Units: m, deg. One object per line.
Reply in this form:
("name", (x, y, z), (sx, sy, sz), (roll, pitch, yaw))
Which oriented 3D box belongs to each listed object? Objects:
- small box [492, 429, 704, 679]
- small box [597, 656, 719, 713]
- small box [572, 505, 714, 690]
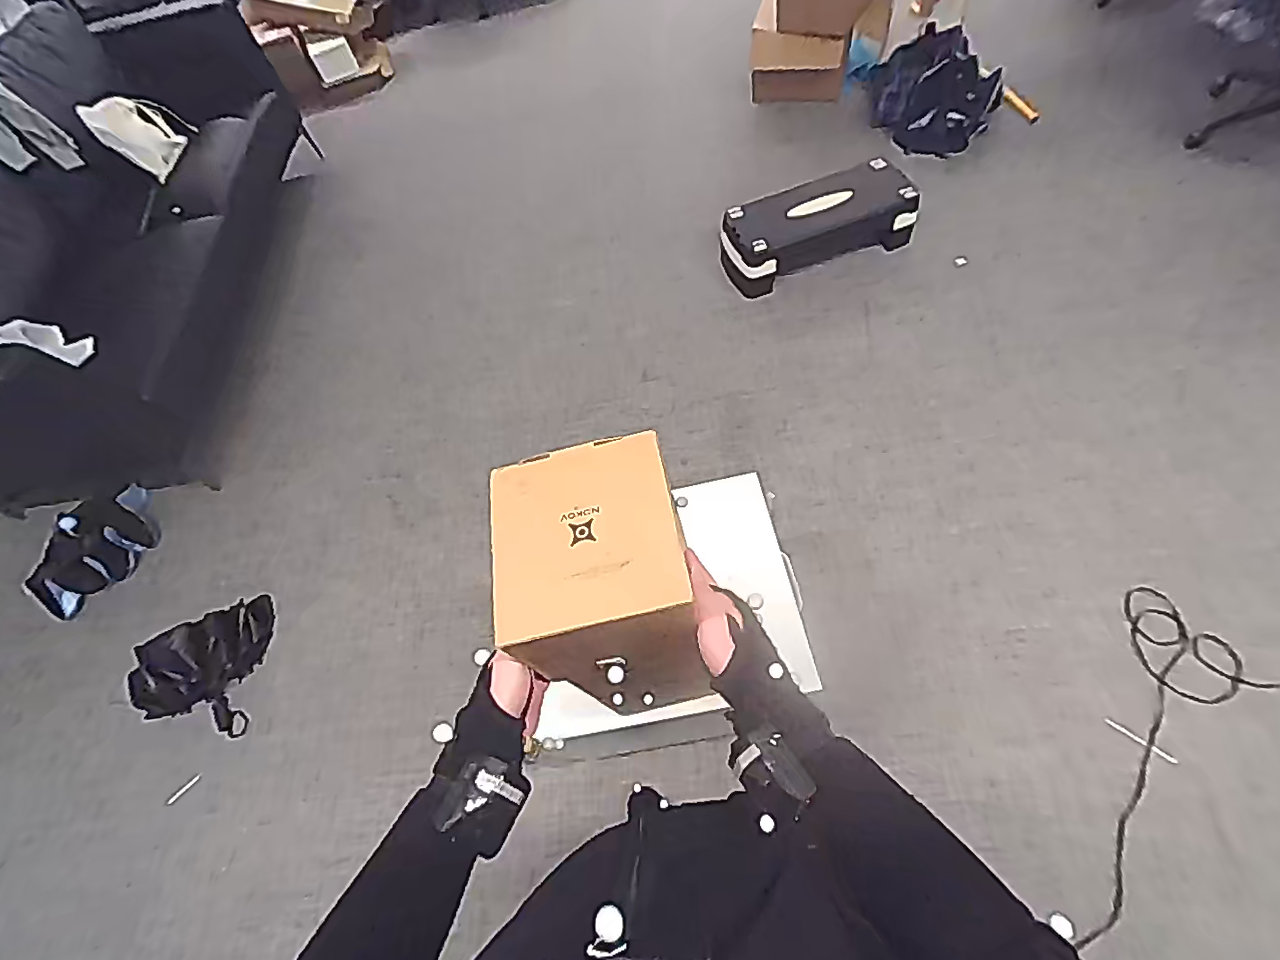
("small box", (-0.037, 0.080, 0.541), (0.168, 0.176, 0.179), (-14, 58, 3))
("small box", (0.018, 0.237, 0.826), (0.168, 0.176, 0.179), (-16, 58, 2))
("small box", (-0.007, 0.156, 0.685), (0.168, 0.176, 0.179), (-15, 58, 1))
